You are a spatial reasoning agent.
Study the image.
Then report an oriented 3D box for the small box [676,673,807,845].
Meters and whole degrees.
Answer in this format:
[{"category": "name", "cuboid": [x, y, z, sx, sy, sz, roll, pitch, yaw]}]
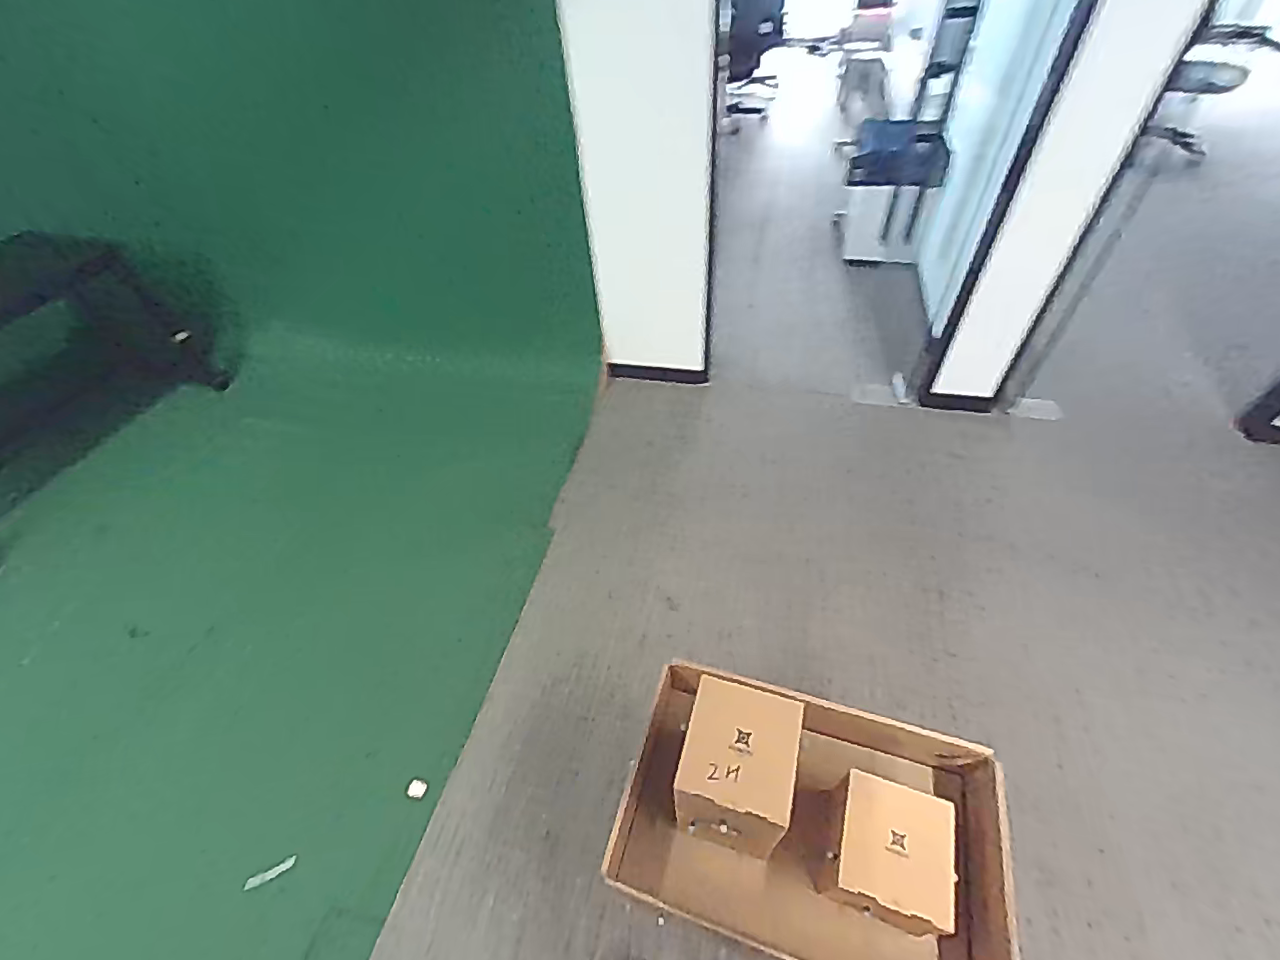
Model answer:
[{"category": "small box", "cuboid": [0.157, 0.443, 0.857, 0.168, 0.176, 0.179, 12, 51, 16]}]
